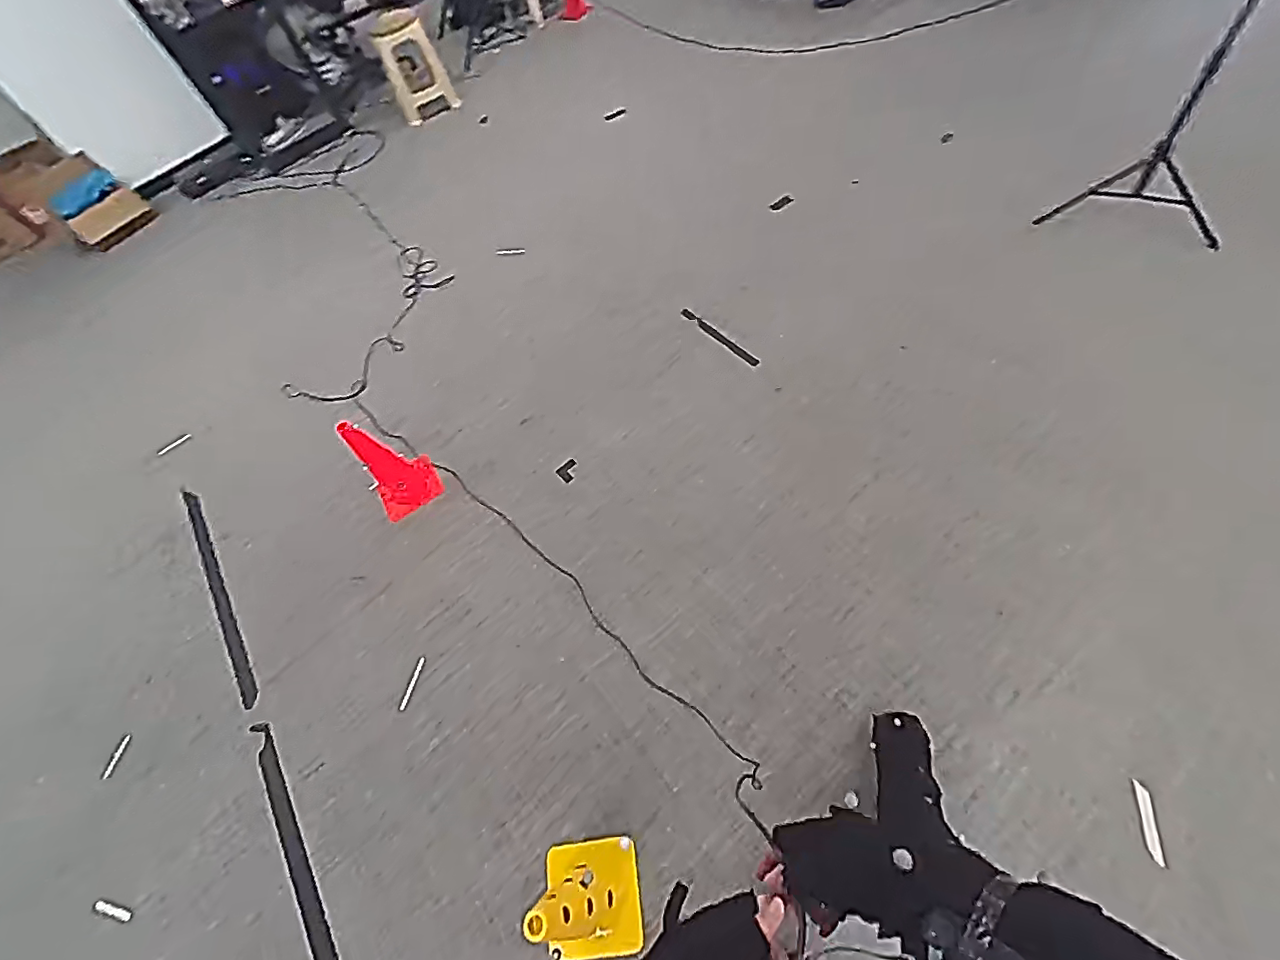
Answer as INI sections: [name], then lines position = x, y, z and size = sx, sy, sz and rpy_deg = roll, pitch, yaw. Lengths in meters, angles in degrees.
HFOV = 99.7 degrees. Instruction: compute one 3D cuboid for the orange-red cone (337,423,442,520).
[orange-red cone]
position = -0.818, -0.062, 1.700
size = 0.198, 0.360, 0.199
rpy_deg = -33, 59, -7
